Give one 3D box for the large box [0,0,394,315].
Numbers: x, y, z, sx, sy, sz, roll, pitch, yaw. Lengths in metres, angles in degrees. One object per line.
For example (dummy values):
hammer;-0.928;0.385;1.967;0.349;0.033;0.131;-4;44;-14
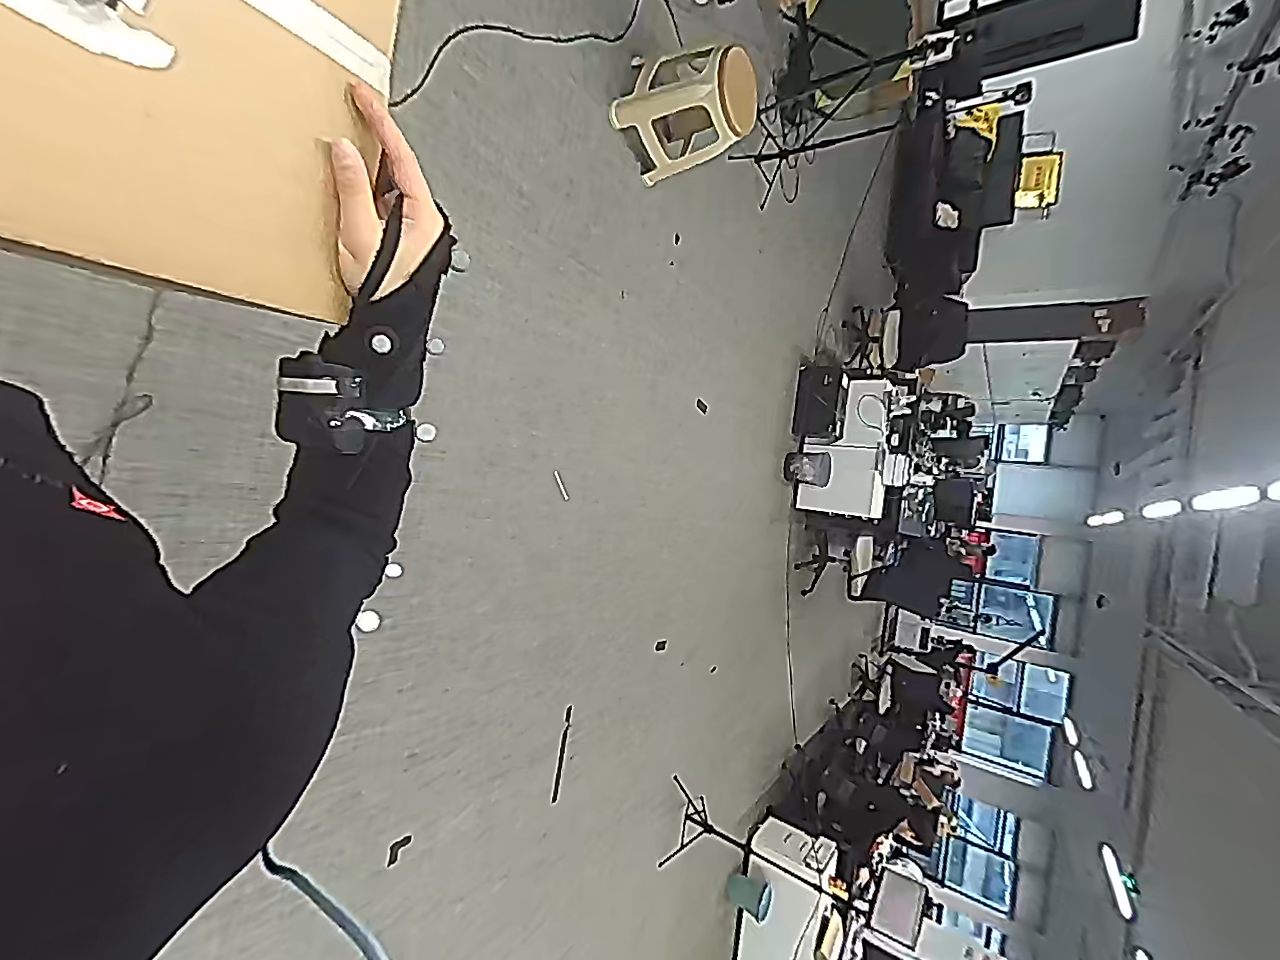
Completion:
large box;-0.400;-0.295;0.261;0.408;0.320;0.320;1;105;-59
